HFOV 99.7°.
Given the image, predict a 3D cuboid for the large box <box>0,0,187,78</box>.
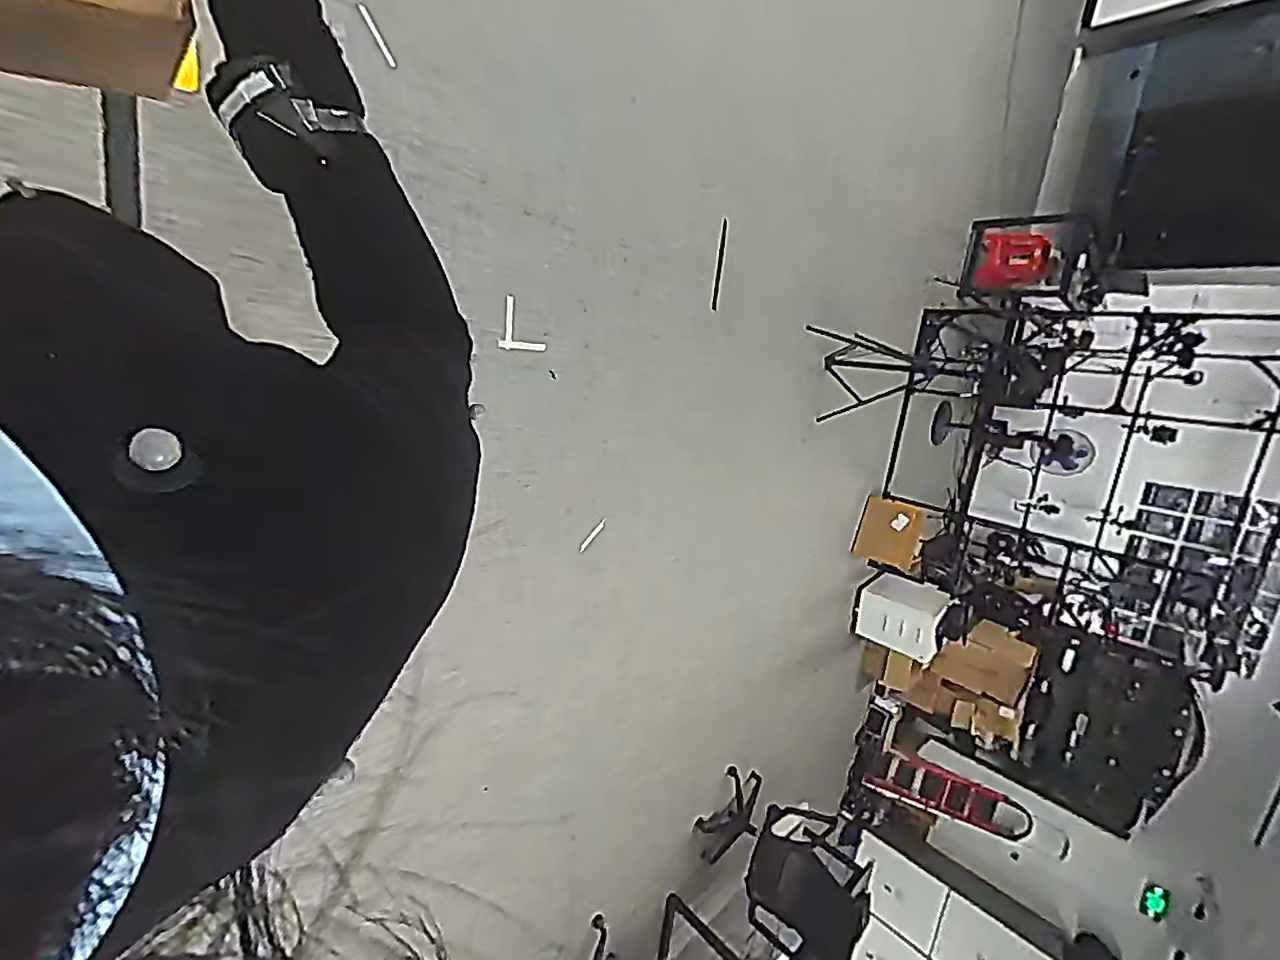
[{"bbox_3d":[-0.535,-0.454,0.278,0.408,0.320,0.320,-16,119,-38],"label":"large box"}]
